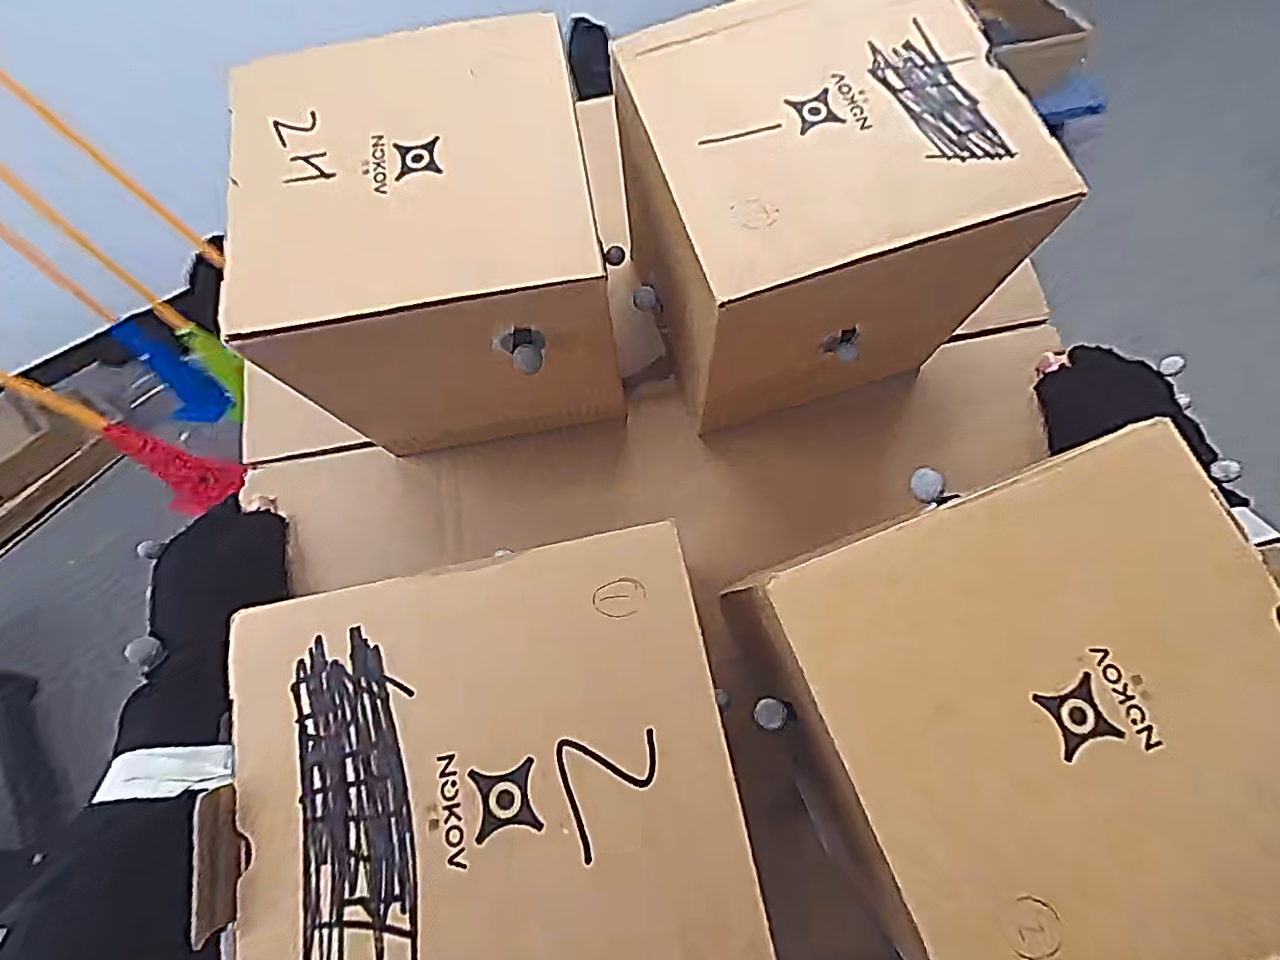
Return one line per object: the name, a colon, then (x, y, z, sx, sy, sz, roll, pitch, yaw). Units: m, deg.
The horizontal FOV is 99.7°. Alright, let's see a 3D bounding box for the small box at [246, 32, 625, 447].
small box: (-0.105, -0.132, 0.351, 0.179, 0.176, 0.168, -8, 74, 1)
